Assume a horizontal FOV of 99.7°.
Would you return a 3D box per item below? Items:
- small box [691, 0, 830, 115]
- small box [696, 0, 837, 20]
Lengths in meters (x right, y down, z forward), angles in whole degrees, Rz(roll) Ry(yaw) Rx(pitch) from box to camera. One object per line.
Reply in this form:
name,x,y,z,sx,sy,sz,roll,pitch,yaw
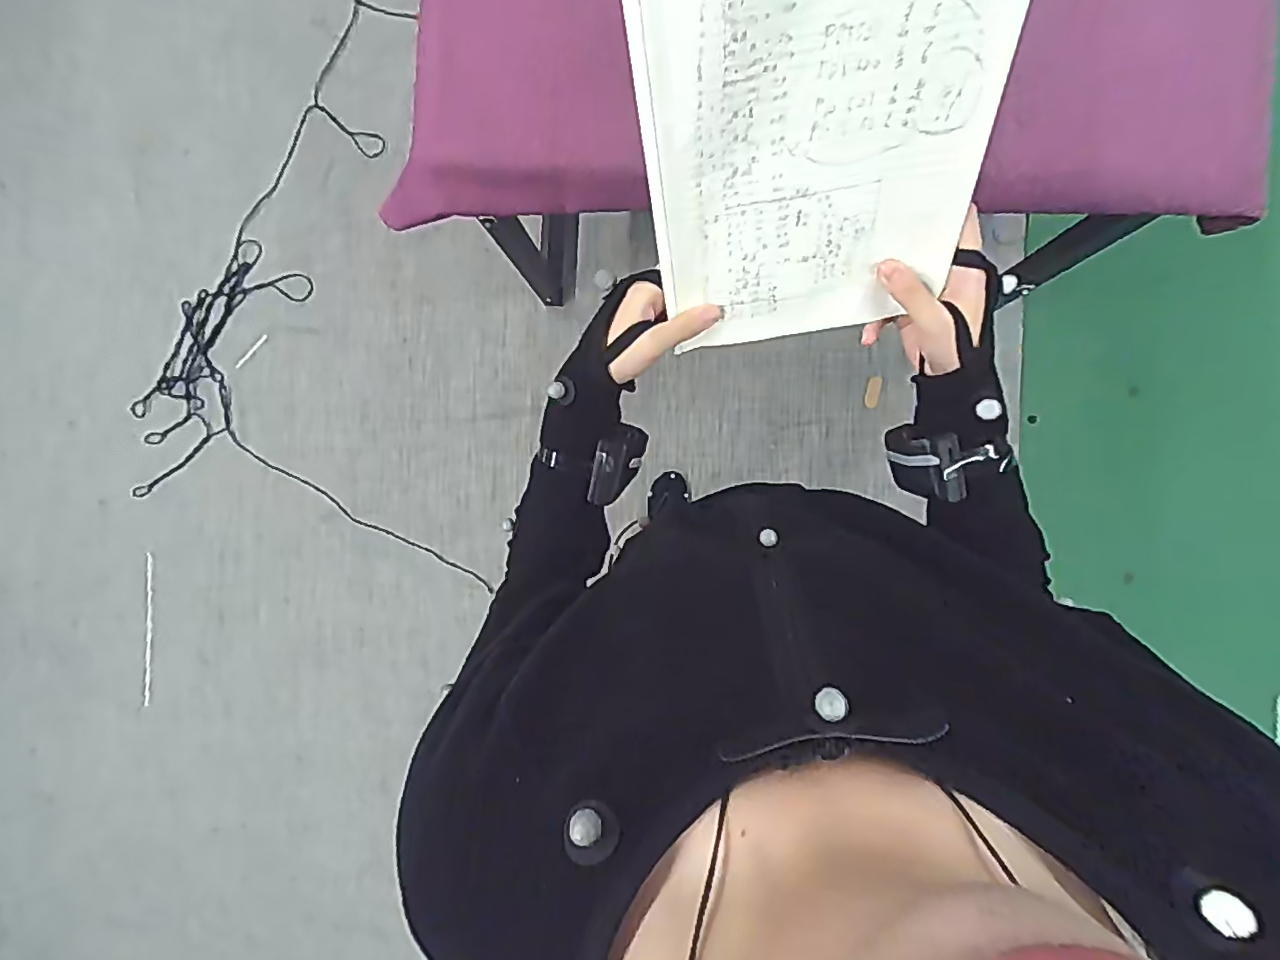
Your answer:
small box,0.157,-0.624,0.721,0.168,0.176,0.179,4,90,4
small box,0.142,-0.622,0.555,0.168,0.176,0.179,4,88,5
